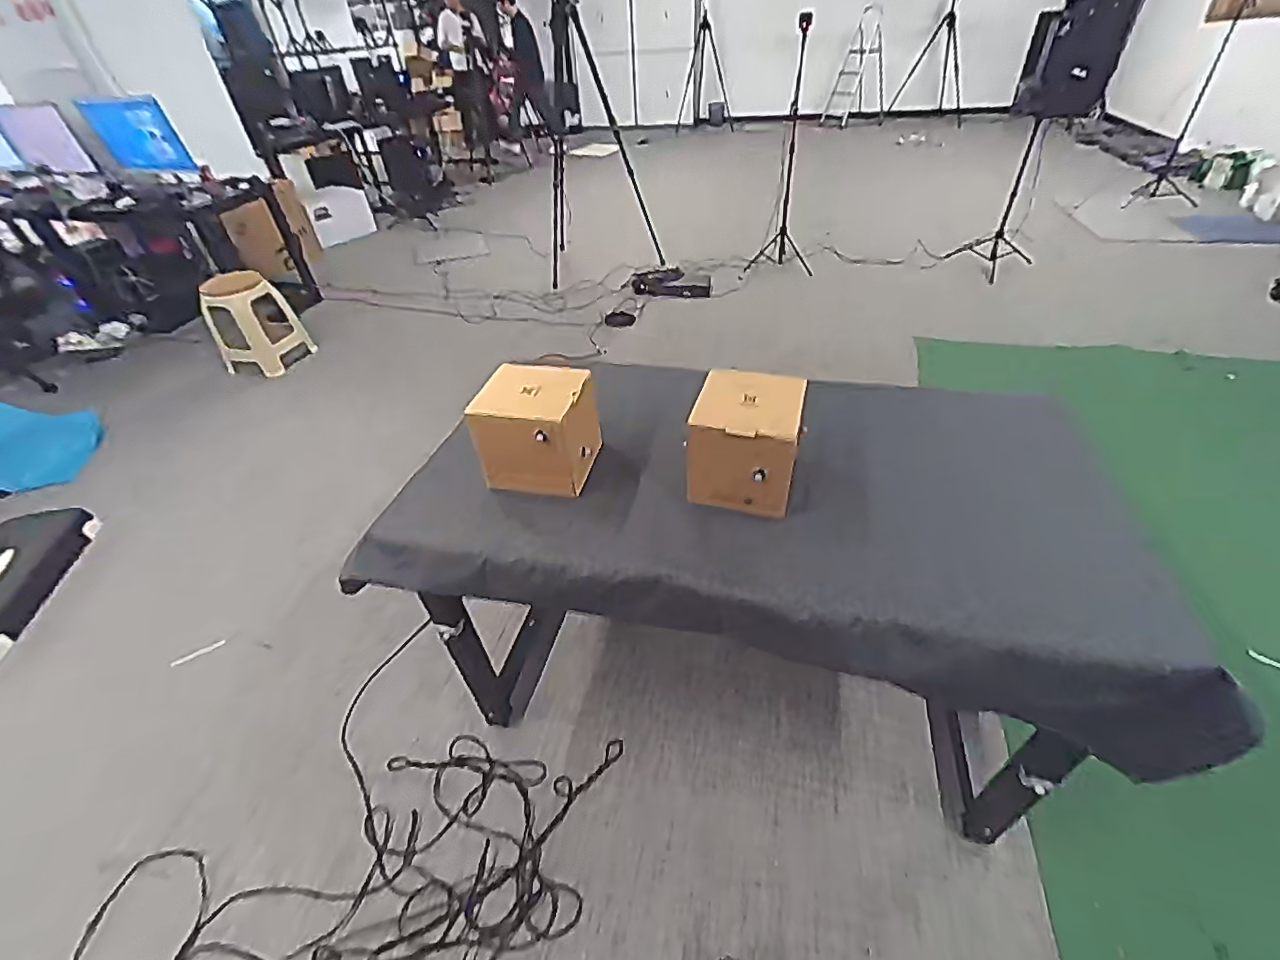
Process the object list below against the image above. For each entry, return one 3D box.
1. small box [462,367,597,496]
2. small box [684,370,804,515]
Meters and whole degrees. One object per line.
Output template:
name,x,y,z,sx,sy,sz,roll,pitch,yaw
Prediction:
small box,-0.187,-0.088,0.976,0.179,0.176,0.168,6,41,11
small box,0.175,-0.064,0.914,0.168,0.176,0.179,10,42,15
